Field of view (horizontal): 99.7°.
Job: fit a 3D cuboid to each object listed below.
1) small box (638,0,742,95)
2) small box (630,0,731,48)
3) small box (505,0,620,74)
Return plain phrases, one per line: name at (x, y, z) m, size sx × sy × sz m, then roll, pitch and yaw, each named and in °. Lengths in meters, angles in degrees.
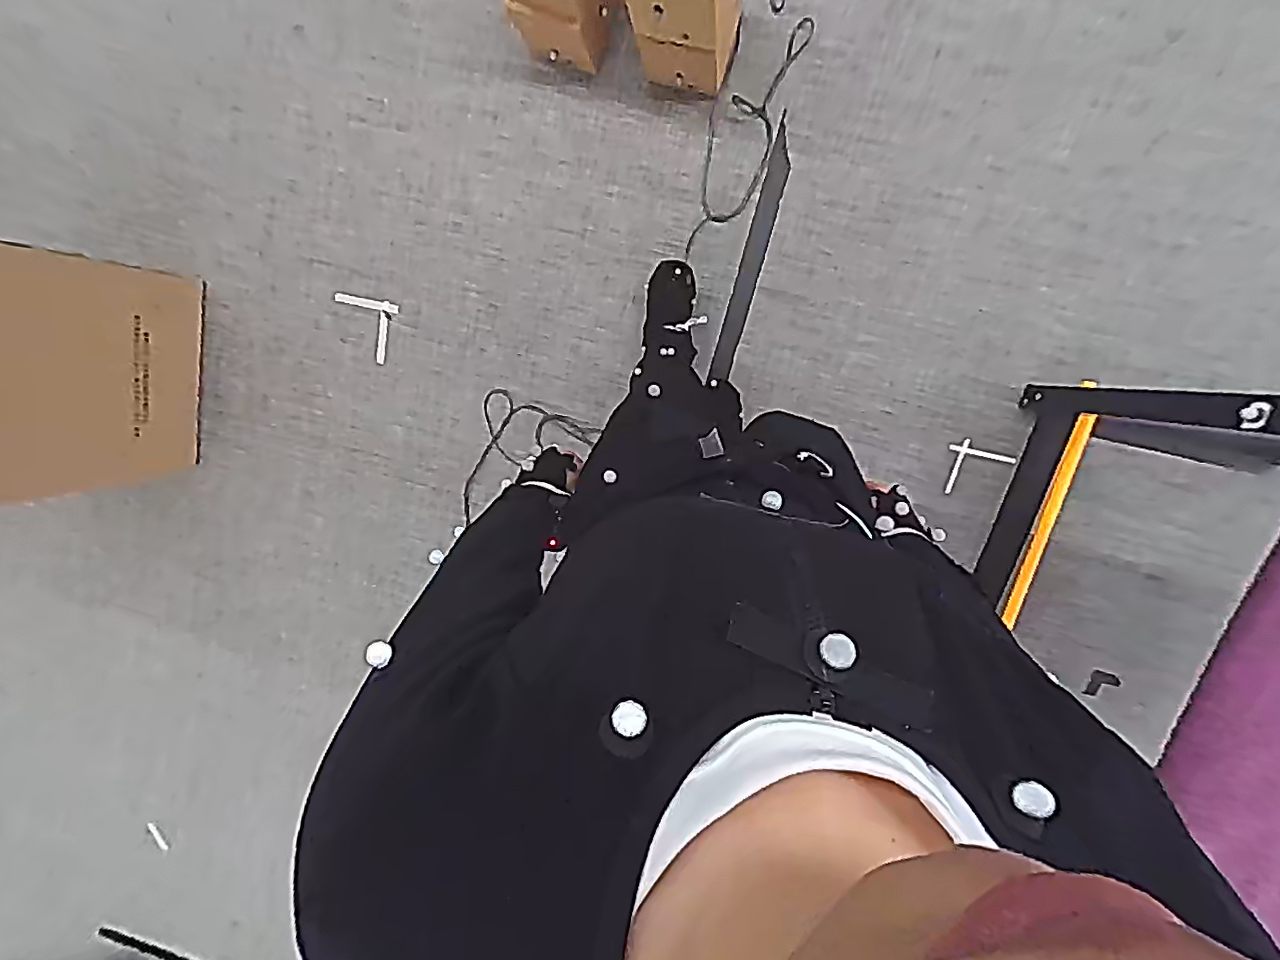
small box at (0.106, -0.926, 1.088) m, size 0.168 × 0.176 × 0.179 m, roll 17°, pitch 103°, yaw 6°
small box at (0.080, -0.896, 0.931) m, size 0.168 × 0.176 × 0.179 m, roll 17°, pitch 102°, yaw 5°
small box at (-0.149, -0.993, 1.110) m, size 0.168 × 0.176 × 0.179 m, roll 22°, pitch 104°, yaw 3°
